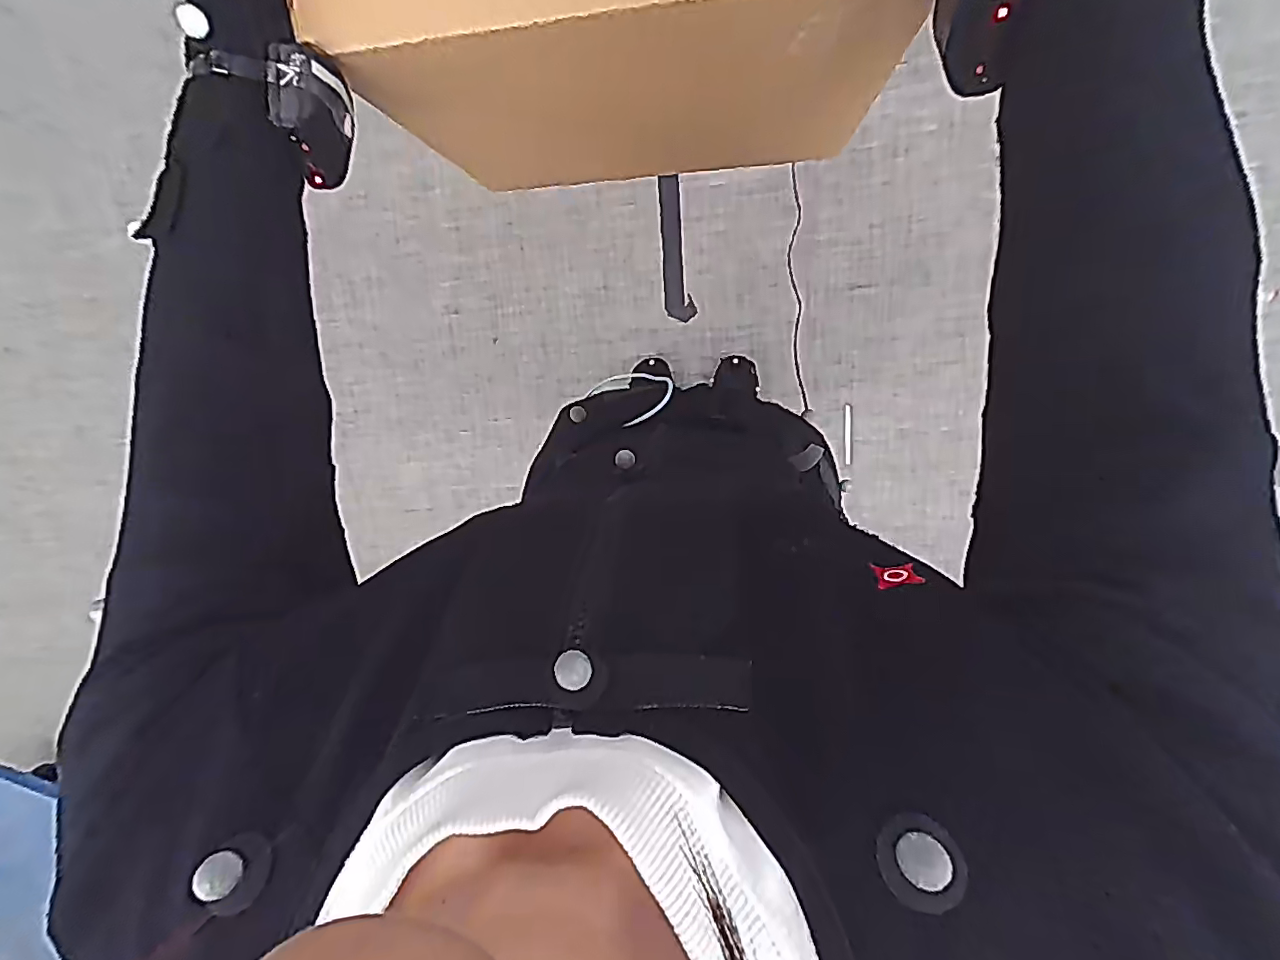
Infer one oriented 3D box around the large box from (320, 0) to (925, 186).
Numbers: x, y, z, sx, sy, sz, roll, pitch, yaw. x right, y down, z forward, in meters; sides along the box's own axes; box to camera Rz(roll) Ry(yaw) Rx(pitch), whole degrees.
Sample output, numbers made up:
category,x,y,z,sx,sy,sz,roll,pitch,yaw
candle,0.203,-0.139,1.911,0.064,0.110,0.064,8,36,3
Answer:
category,x,y,z,sx,sy,sz,roll,pitch,yaw
large box,-0.005,-0.473,0.443,0.408,0.320,0.320,-2,103,7
